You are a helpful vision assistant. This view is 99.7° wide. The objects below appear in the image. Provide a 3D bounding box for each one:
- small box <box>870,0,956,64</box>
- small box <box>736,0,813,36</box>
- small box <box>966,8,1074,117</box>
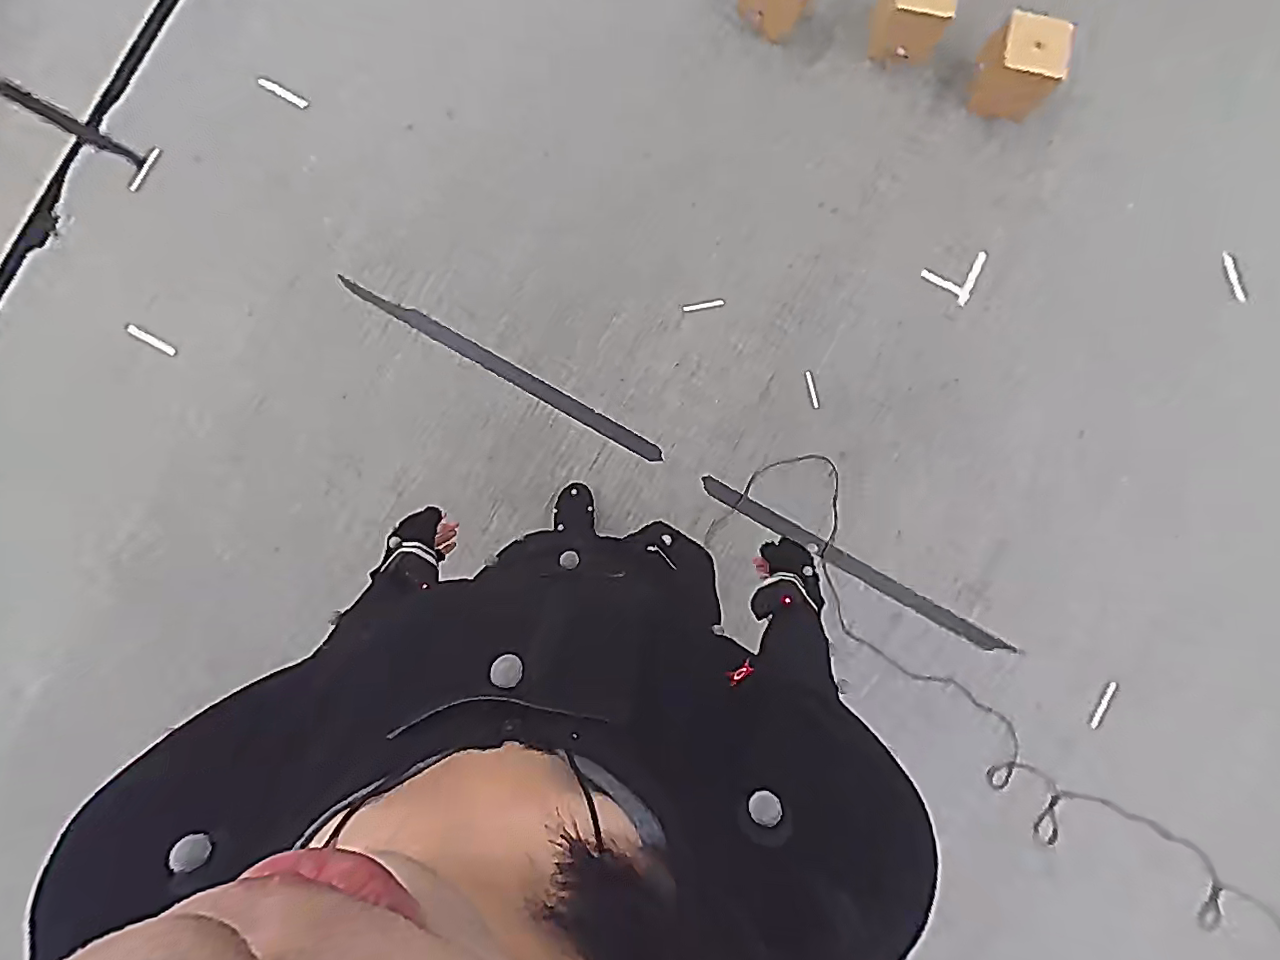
[{"bbox_3d":[0.773,-1.339,1.530,0.168,0.176,0.179,9,88,-1],"label":"small box"},{"bbox_3d":[0.400,-1.417,1.529,0.179,0.176,0.168,41,87,1],"label":"small box"},{"bbox_3d":[1.070,-1.172,1.531,0.179,0.176,0.168,10,86,0],"label":"small box"}]
